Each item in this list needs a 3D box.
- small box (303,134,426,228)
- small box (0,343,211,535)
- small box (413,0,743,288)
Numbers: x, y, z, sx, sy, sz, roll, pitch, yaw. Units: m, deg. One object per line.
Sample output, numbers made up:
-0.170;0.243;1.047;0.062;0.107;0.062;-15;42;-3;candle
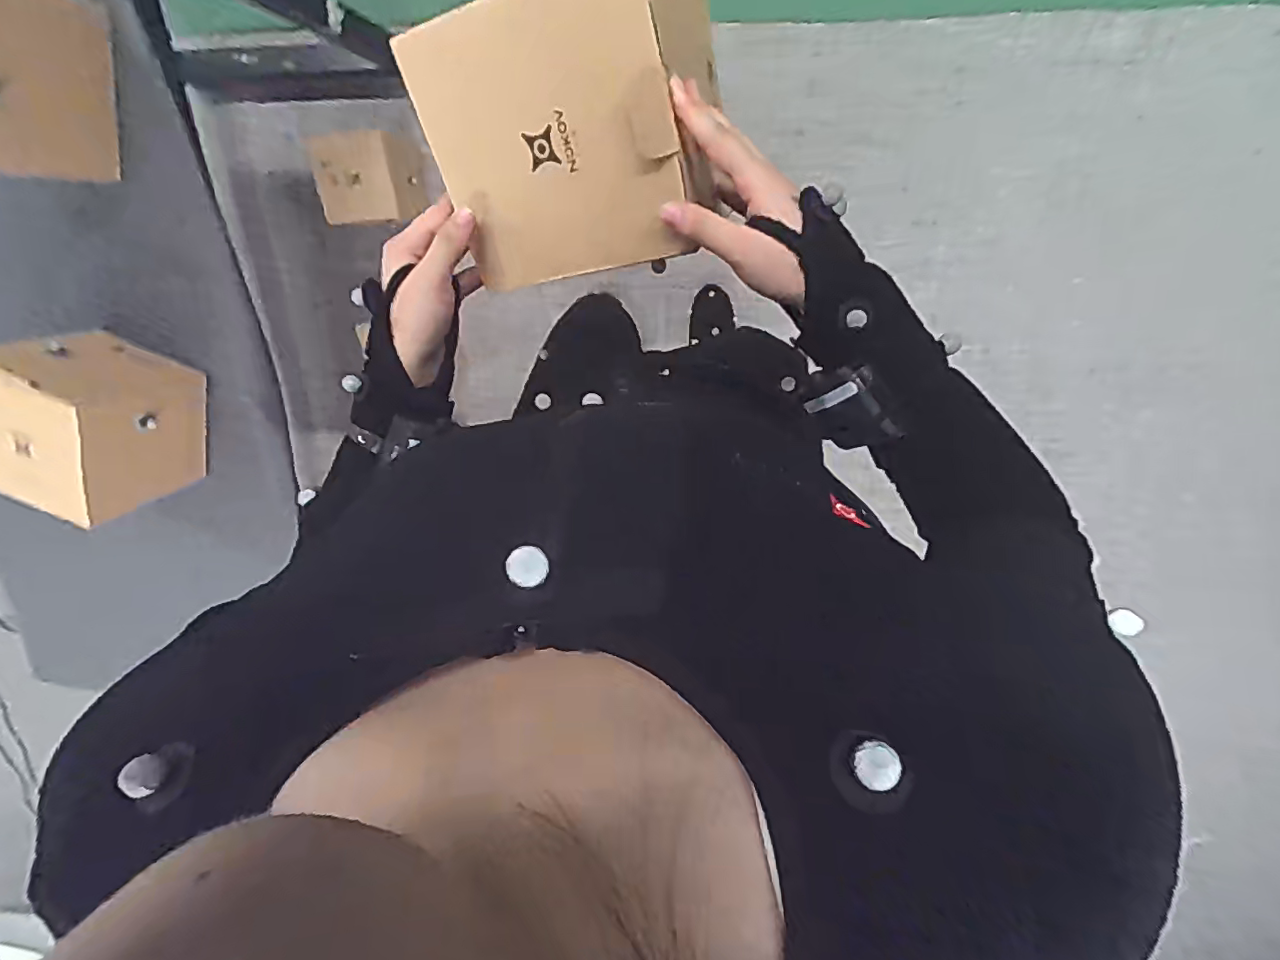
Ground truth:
-0.609;-0.672;1.229;0.179;0.176;0.168;-2;114;8;small box
-0.713;-0.064;0.717;0.168;0.176;0.179;22;117;0;small box
-0.027;-0.265;0.418;0.179;0.176;0.168;-3;123;21;small box
